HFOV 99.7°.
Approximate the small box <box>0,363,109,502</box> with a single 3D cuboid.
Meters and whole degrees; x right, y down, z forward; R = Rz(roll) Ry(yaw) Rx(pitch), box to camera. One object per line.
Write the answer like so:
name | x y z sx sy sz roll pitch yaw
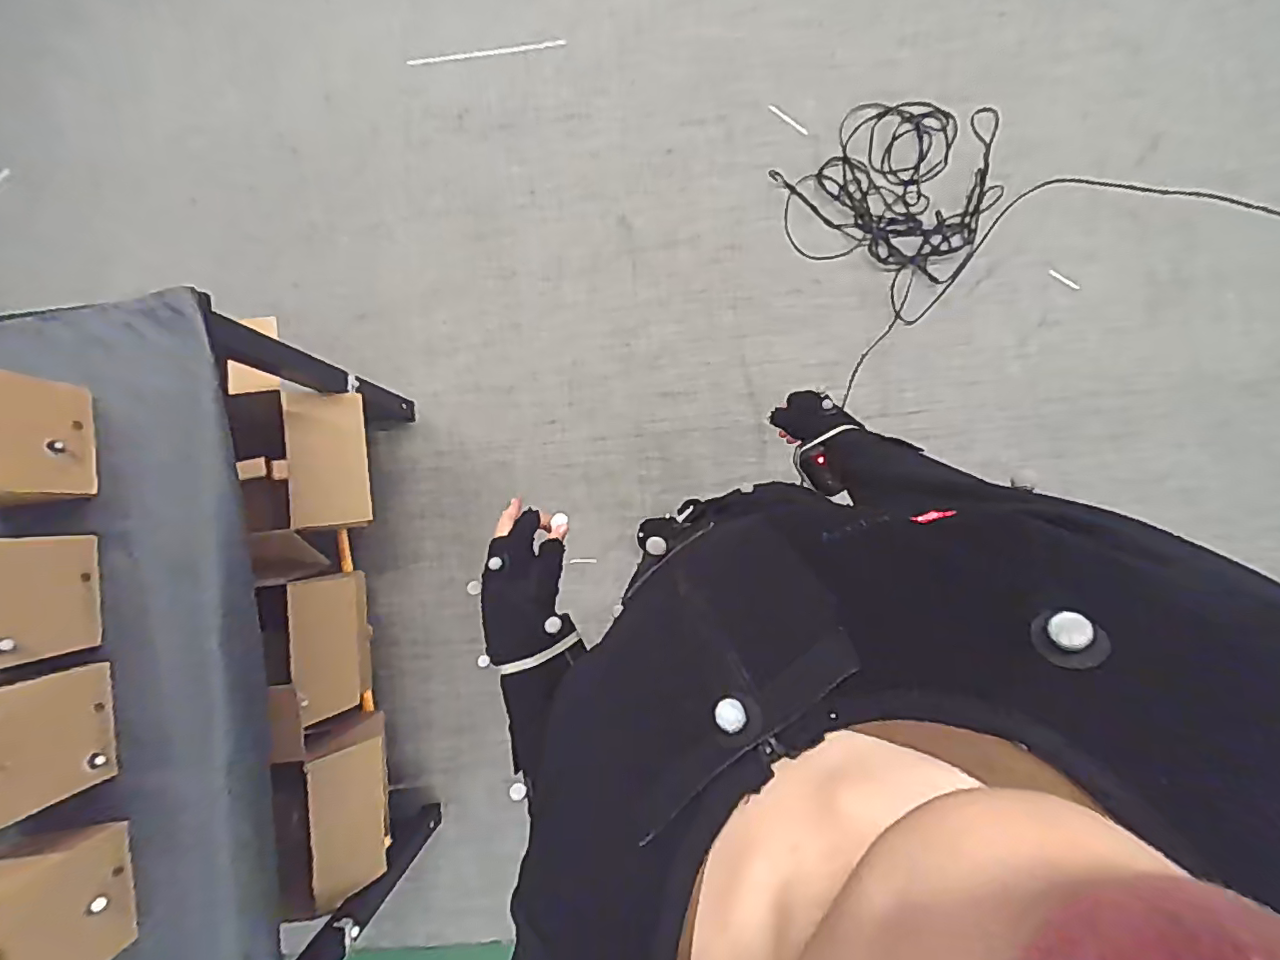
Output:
small box | -0.908 -0.060 0.755 0.179 0.176 0.168 -7 87 3
